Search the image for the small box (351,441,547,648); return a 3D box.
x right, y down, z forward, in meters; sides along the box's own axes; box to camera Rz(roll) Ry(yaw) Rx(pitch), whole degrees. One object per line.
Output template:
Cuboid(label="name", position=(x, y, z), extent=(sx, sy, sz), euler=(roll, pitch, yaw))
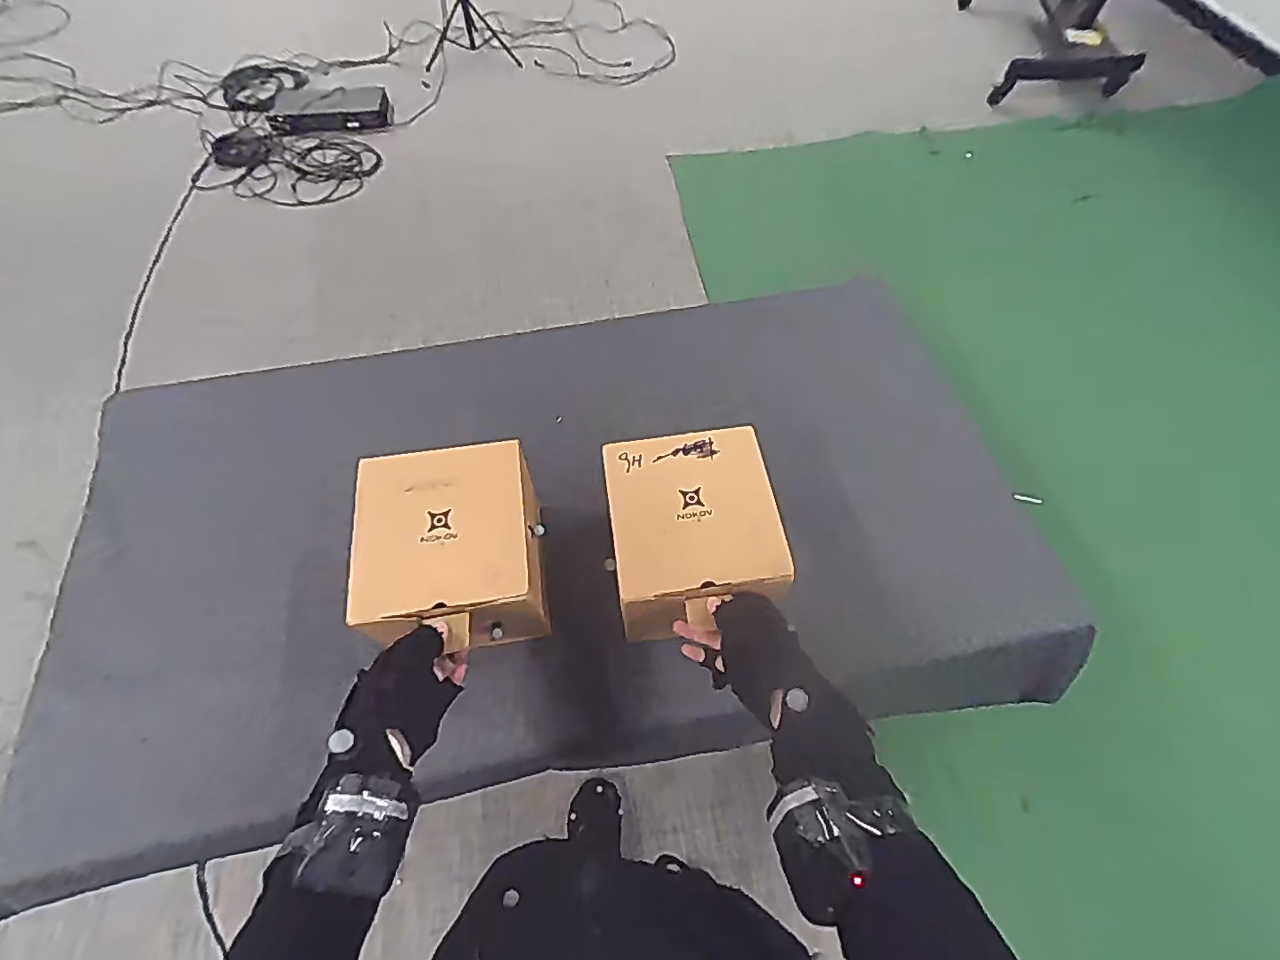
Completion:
Cuboid(label="small box", position=(-0.201, 0.081, 0.608), extent=(0.168, 0.176, 0.179), euler=(-8, 61, -7))
